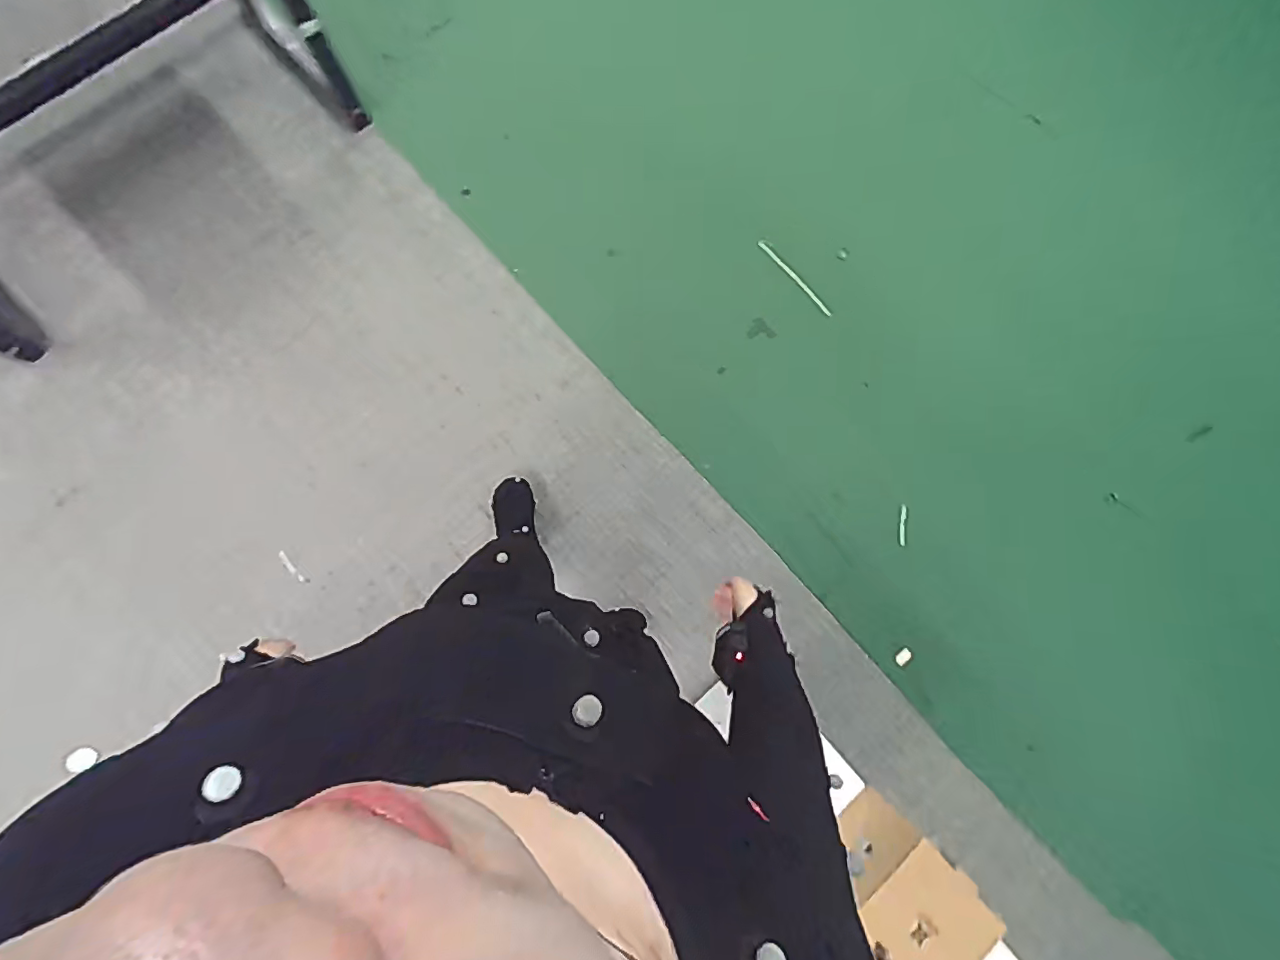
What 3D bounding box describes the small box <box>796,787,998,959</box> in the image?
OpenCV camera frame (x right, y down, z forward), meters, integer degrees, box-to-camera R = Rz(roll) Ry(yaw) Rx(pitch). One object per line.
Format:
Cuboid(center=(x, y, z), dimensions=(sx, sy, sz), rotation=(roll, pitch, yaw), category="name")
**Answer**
Cuboid(center=(0.365, 0.604, 0.804), dimensions=(0.179, 0.176, 0.168), rotation=(-41, 86, -9), category="small box")
